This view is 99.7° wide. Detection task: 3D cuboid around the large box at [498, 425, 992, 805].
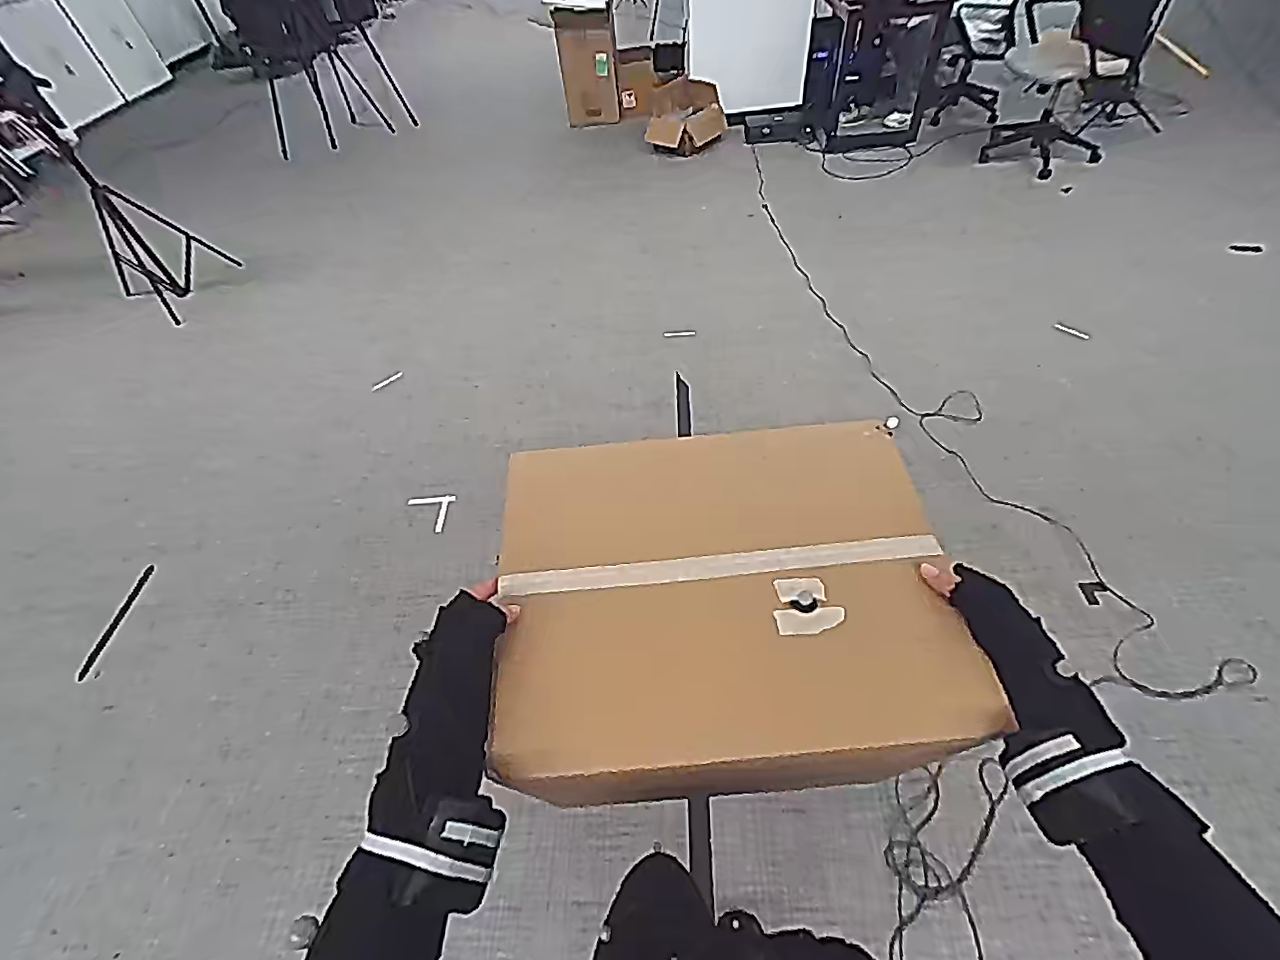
[{"bbox_3d":[0.077,0.168,0.631,0.408,0.320,0.320,-5,55,0],"label":"large box"}]
